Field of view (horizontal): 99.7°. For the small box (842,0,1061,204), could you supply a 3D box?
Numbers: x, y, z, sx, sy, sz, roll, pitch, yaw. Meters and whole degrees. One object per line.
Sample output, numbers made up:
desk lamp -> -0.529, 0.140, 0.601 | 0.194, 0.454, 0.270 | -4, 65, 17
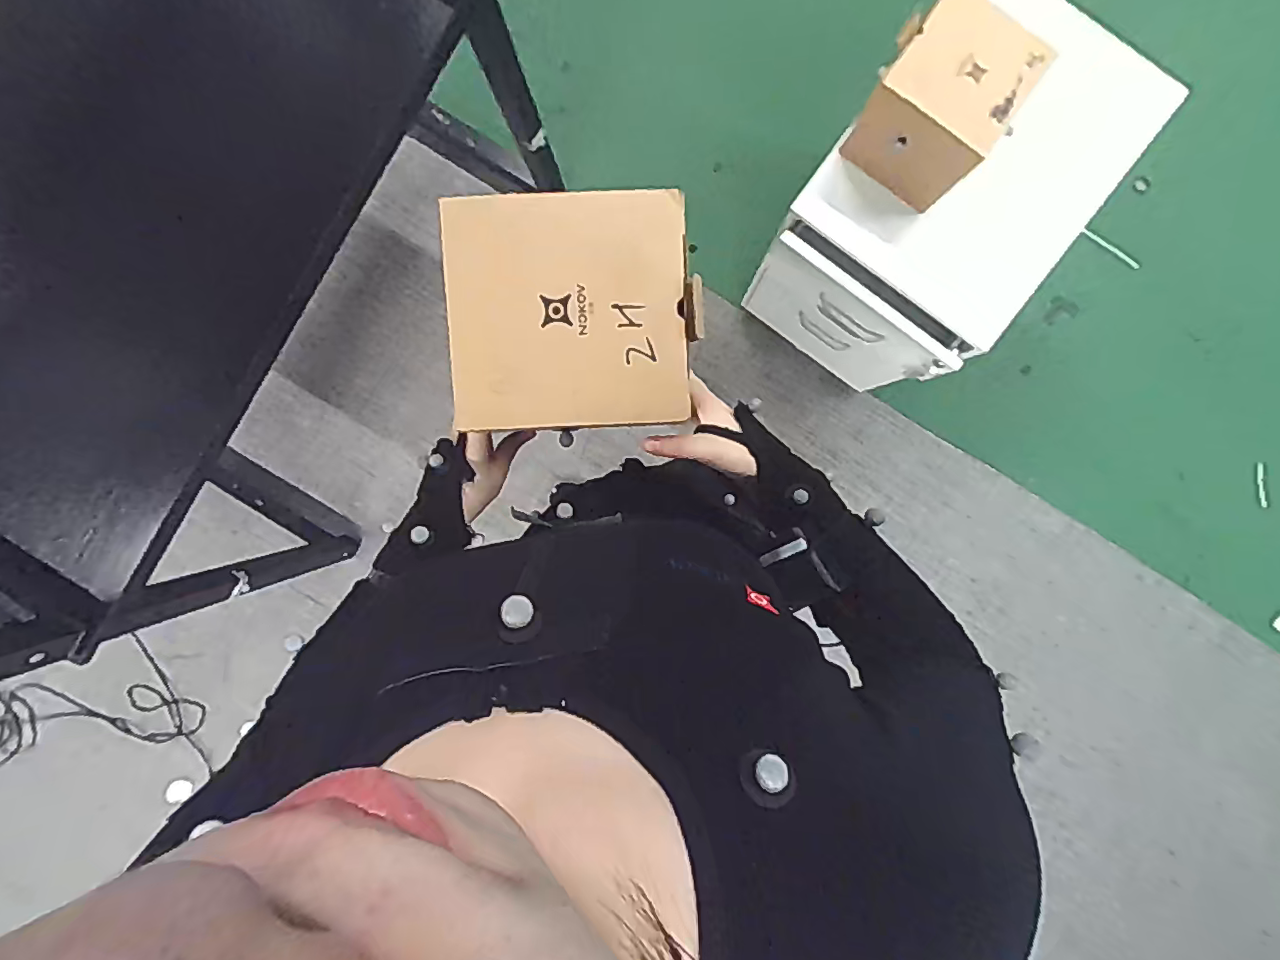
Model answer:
small box -> 0.425, -0.538, 0.774 | 0.179, 0.176, 0.168 | 35, 93, 0
